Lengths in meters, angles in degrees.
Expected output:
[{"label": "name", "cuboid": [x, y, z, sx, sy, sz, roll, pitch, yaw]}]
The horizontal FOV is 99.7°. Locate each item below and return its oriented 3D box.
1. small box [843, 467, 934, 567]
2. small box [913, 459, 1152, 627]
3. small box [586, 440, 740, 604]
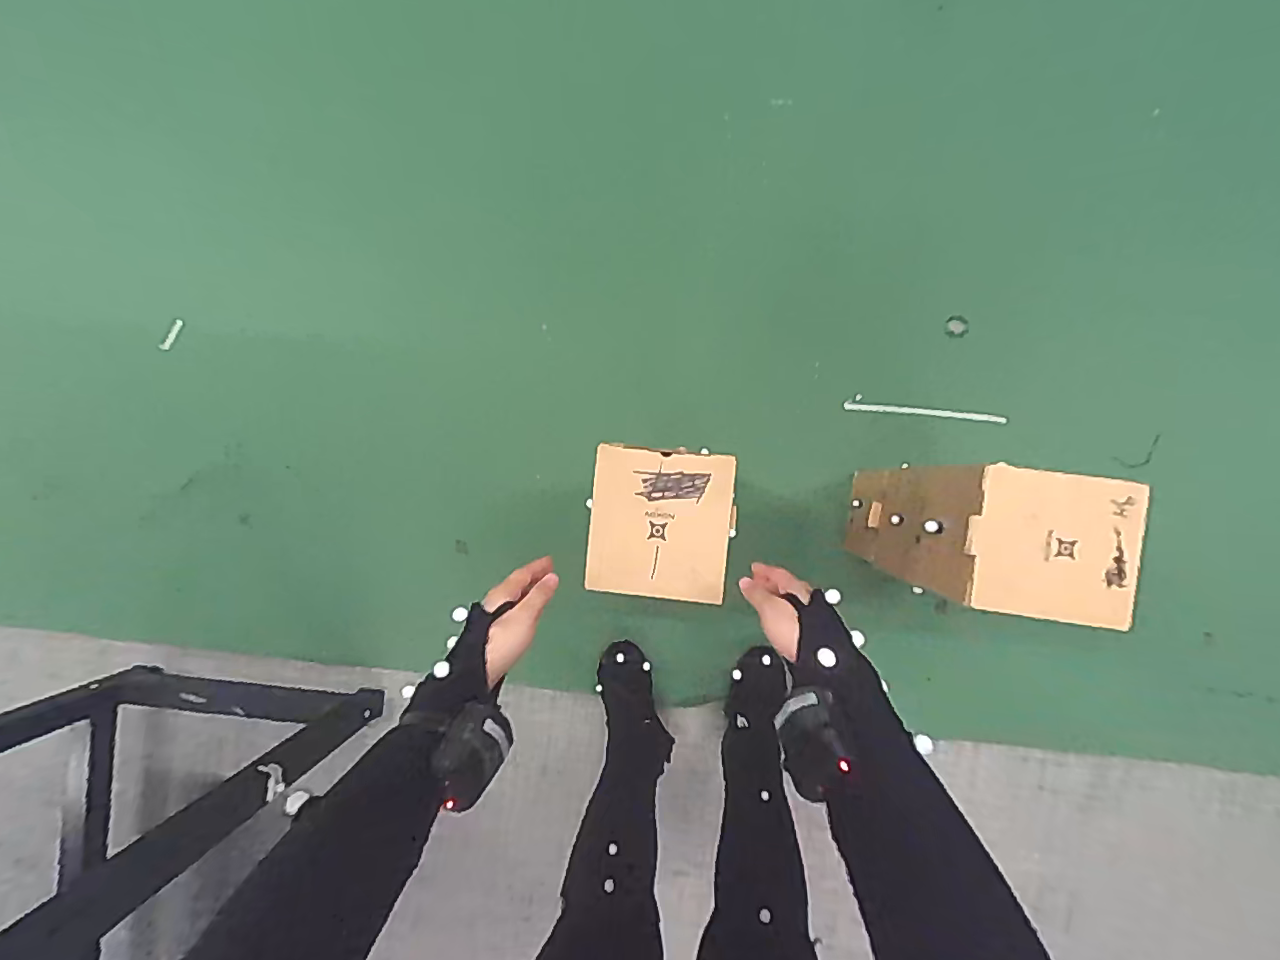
[{"label": "small box", "cuboid": [0.502, 0.068, 1.002, 0.179, 0.176, 0.168, 9, 92, 3]}, {"label": "small box", "cuboid": [0.468, 0.070, 0.675, 0.179, 0.176, 0.168, 8, 91, 5]}, {"label": "small box", "cuboid": [0.030, 0.048, 0.706, 0.168, 0.176, 0.179, 6, 91, 4]}]
